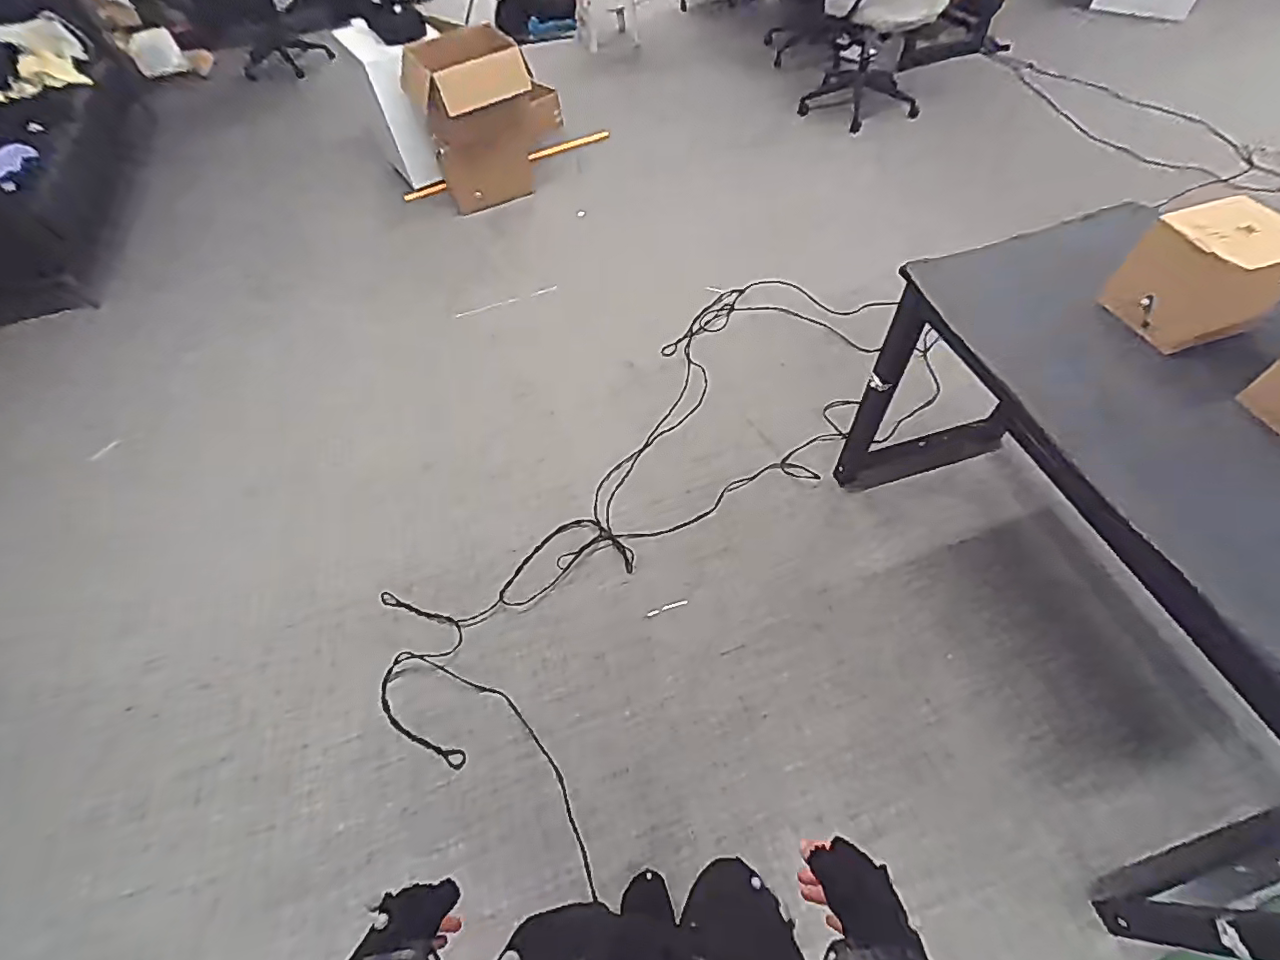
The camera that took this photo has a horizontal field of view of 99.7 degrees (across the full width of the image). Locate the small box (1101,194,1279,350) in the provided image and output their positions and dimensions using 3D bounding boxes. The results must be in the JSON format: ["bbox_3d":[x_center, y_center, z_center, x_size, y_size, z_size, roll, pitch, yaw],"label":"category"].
[{"bbox_3d":[0.968,-0.353,0.929,0.179,0.176,0.168,-16,56,-6],"label":"small box"}]
